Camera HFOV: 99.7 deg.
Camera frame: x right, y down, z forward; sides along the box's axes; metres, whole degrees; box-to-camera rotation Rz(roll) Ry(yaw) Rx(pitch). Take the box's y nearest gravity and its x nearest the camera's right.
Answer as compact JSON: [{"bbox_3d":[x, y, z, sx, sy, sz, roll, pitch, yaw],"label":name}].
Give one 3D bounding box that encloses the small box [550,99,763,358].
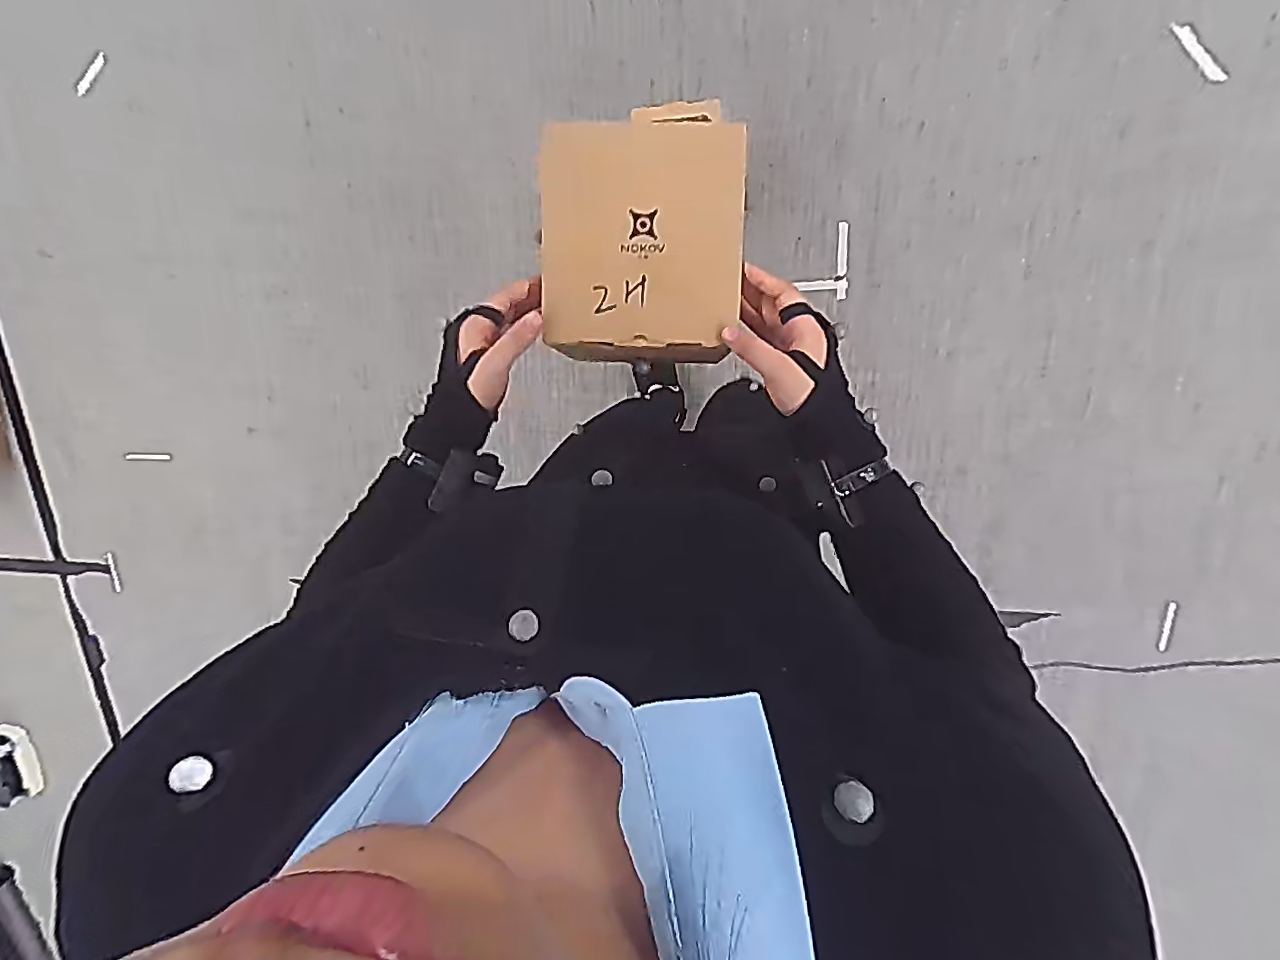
[{"bbox_3d":[0.013,-0.217,0.509,0.168,0.176,0.179,2,97,1],"label":"small box"}]
